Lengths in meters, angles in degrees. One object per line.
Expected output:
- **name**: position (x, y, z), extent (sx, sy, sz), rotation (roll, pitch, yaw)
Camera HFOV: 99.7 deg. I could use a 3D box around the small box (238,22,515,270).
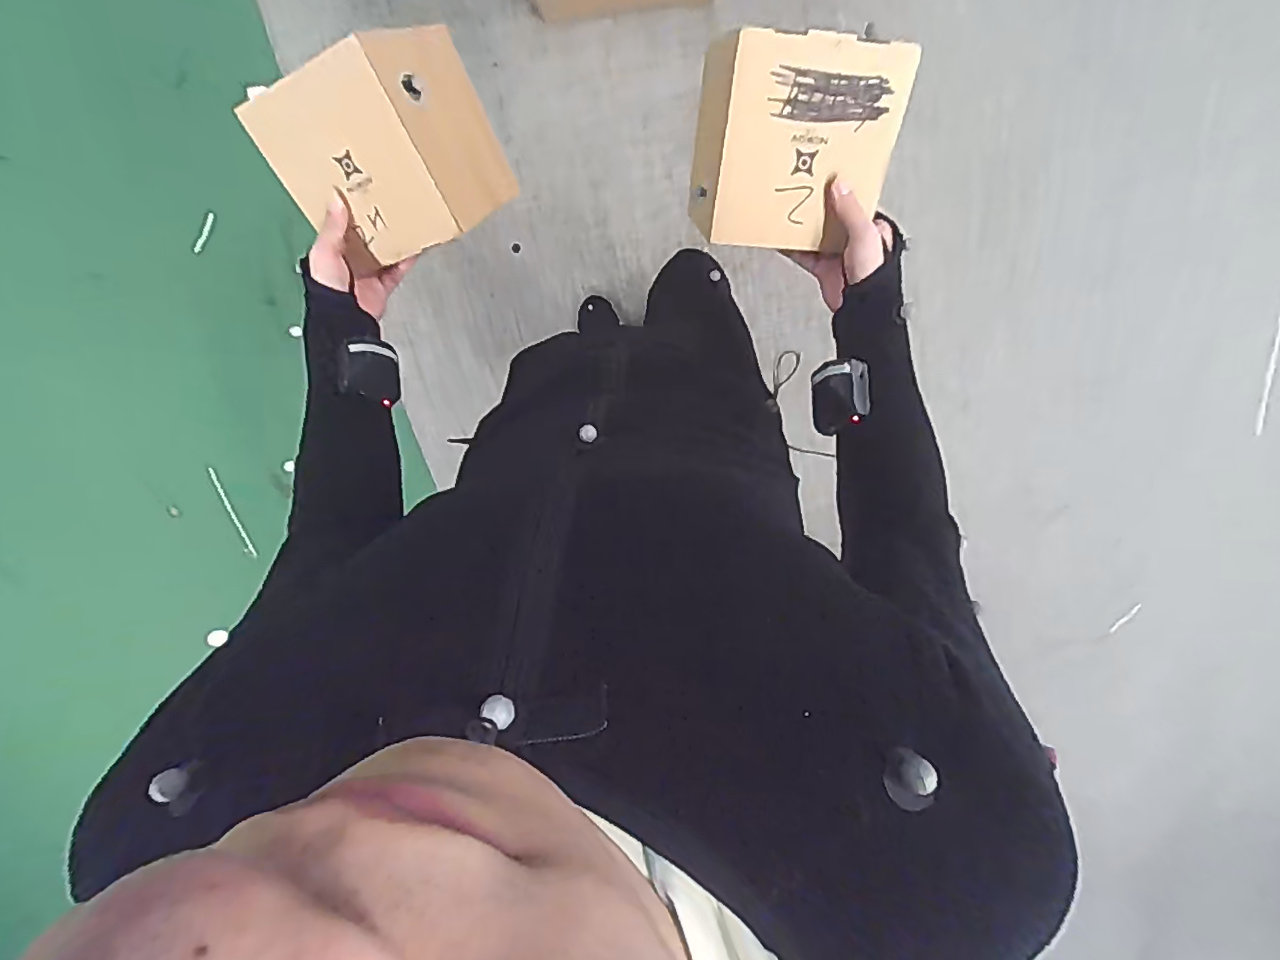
- **small box**: position (-0.269, -0.365, 0.596), extent (0.168, 0.176, 0.179), rotation (-9, 128, 23)
